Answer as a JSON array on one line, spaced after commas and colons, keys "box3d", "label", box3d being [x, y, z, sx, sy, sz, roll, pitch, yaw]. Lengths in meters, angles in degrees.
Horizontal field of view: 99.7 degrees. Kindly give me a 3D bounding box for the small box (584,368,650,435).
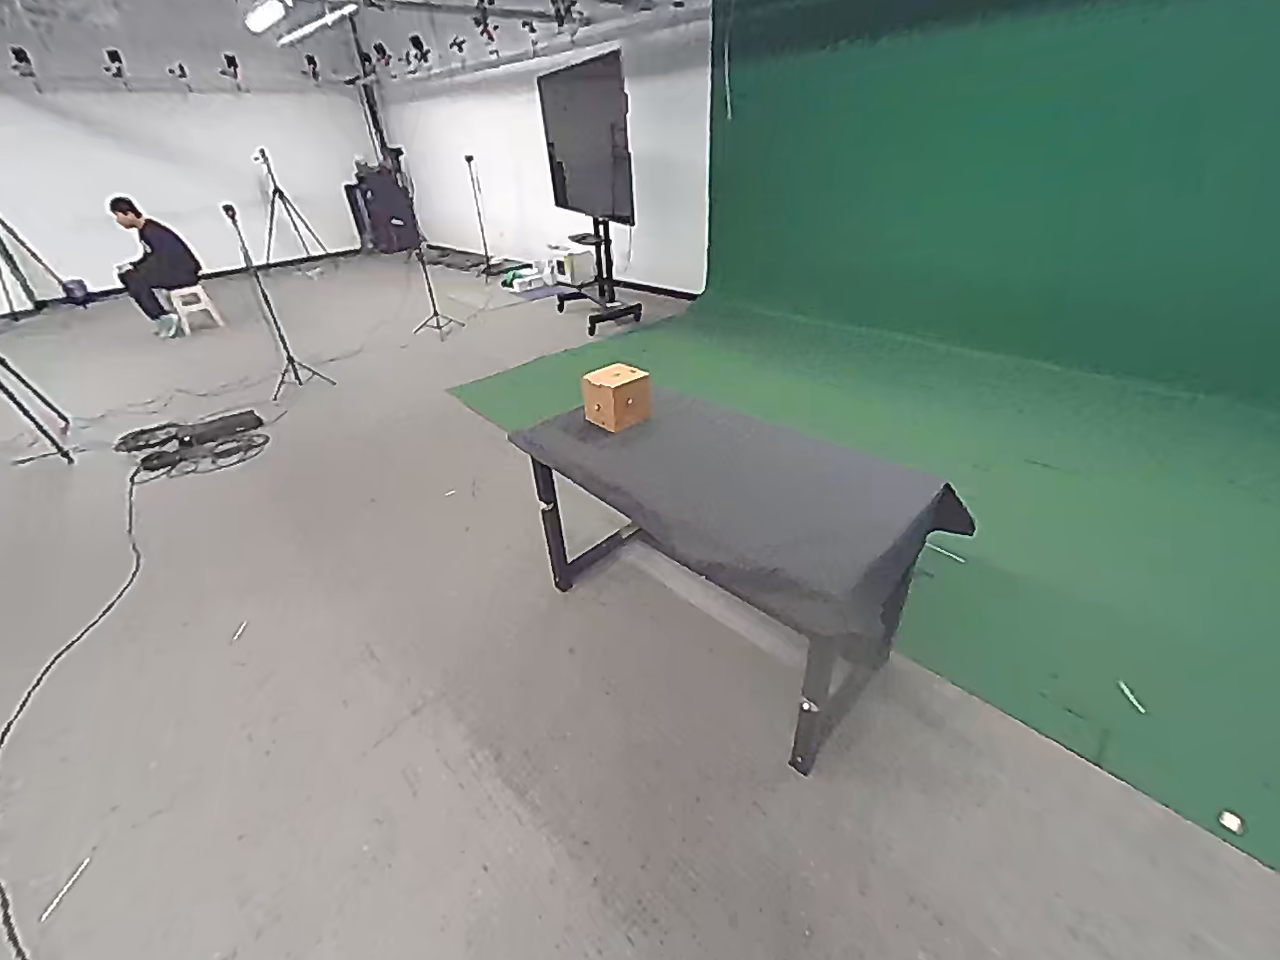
[{"box3d": [-0.075, -0.277, 1.917, 0.179, 0.176, 0.168, -29, 41, -34], "label": "small box"}]
